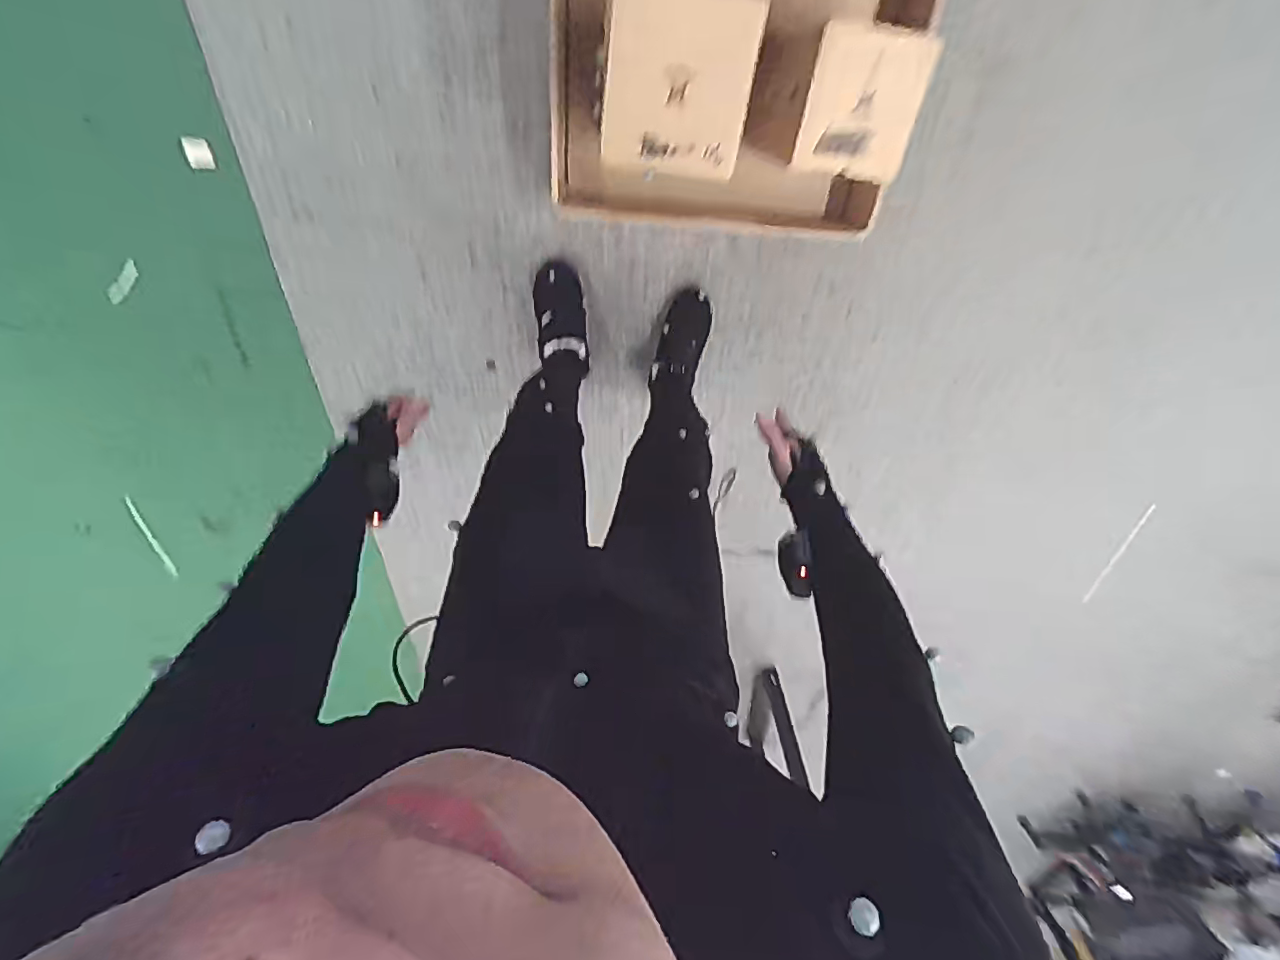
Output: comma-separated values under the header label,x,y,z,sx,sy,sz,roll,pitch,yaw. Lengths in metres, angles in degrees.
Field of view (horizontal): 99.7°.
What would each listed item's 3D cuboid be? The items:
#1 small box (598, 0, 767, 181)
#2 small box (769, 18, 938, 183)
label,x,y,z,sx,sy,sz,roll,pitch,yaw
small box,0.037,-0.489,0.672,0.168,0.176,0.179,4,124,-8
small box,0.309,-0.575,0.831,0.168,0.176,0.179,5,124,-6
